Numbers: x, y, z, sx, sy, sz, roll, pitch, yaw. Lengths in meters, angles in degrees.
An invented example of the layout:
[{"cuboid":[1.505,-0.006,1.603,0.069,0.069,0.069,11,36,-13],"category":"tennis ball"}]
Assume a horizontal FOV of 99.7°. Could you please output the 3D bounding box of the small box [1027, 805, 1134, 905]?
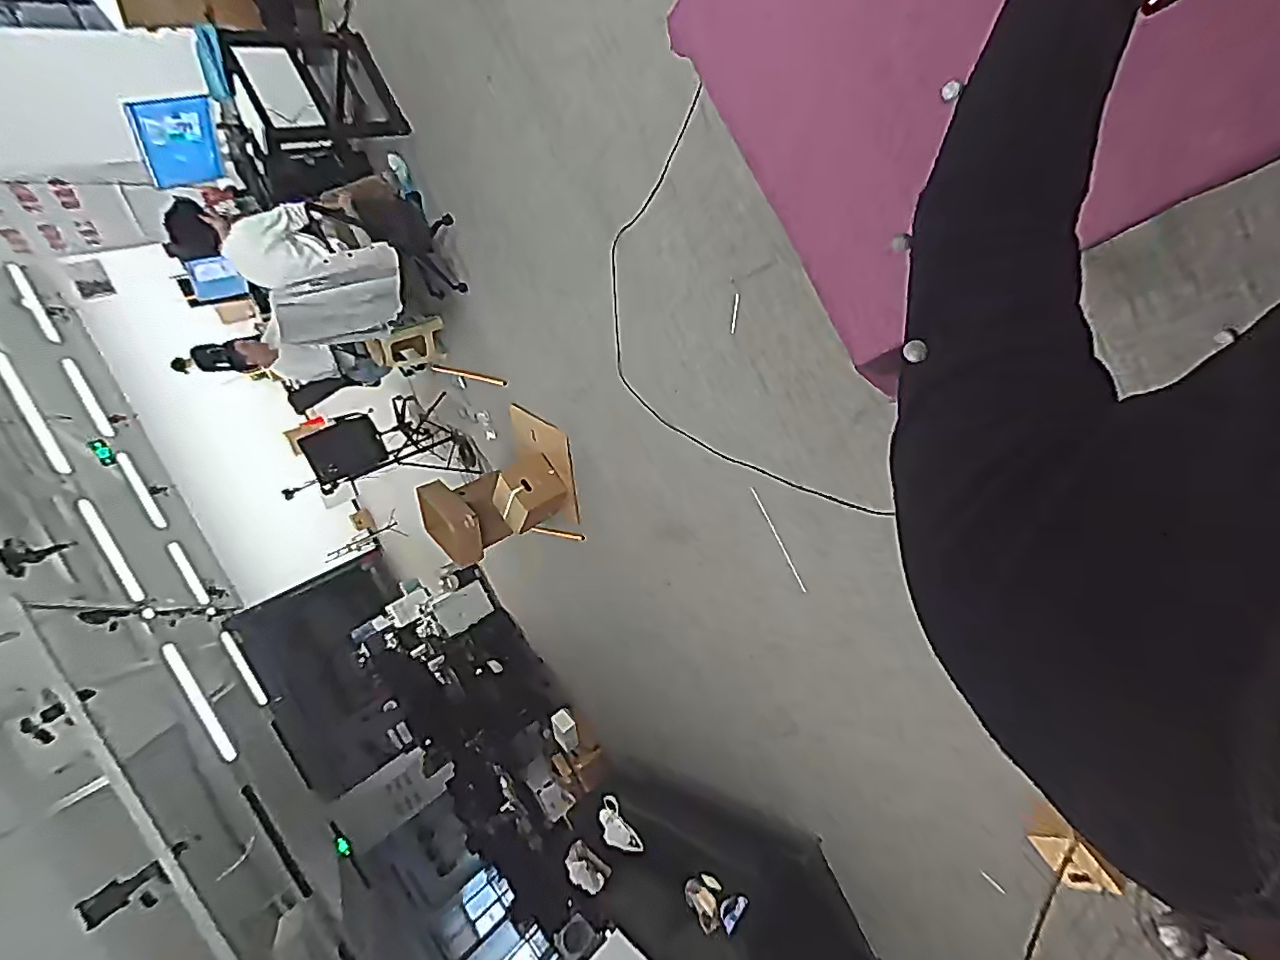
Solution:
[{"cuboid":[1.331,1.122,1.630,0.179,0.176,0.168,54,146,13],"category":"small box"}]
